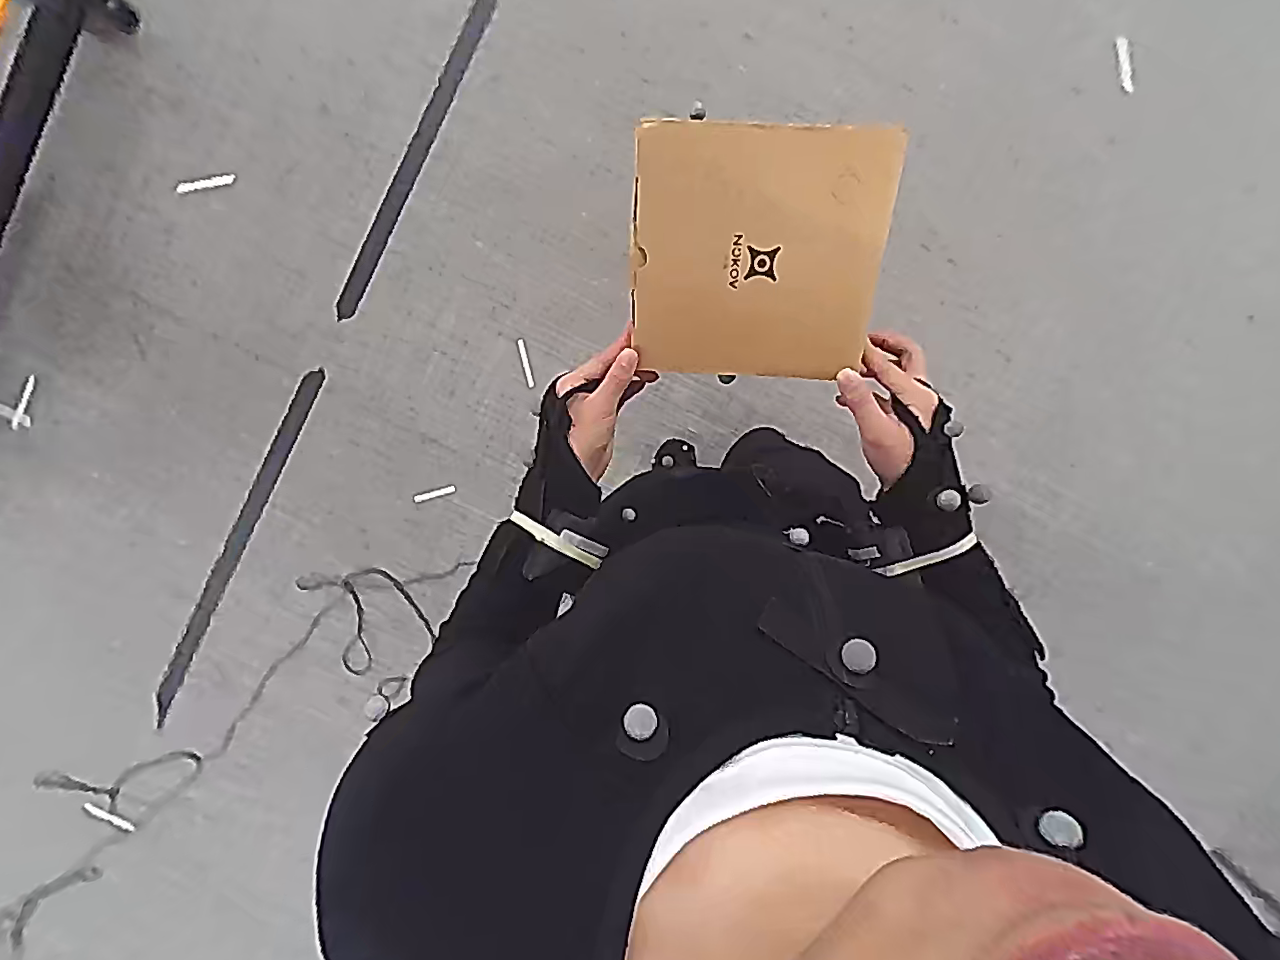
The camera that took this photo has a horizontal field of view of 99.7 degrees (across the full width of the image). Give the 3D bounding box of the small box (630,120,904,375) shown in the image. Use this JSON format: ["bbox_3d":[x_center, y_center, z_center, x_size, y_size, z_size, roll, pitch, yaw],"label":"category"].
[{"bbox_3d":[0.085,-0.193,0.452,0.179,0.176,0.168,3,117,4],"label":"small box"}]

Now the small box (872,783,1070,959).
[{"bbox_3d":[0.494,0.620,0.840,0.168,0.176,0.179,26,97,0],"label":"small box"}]
